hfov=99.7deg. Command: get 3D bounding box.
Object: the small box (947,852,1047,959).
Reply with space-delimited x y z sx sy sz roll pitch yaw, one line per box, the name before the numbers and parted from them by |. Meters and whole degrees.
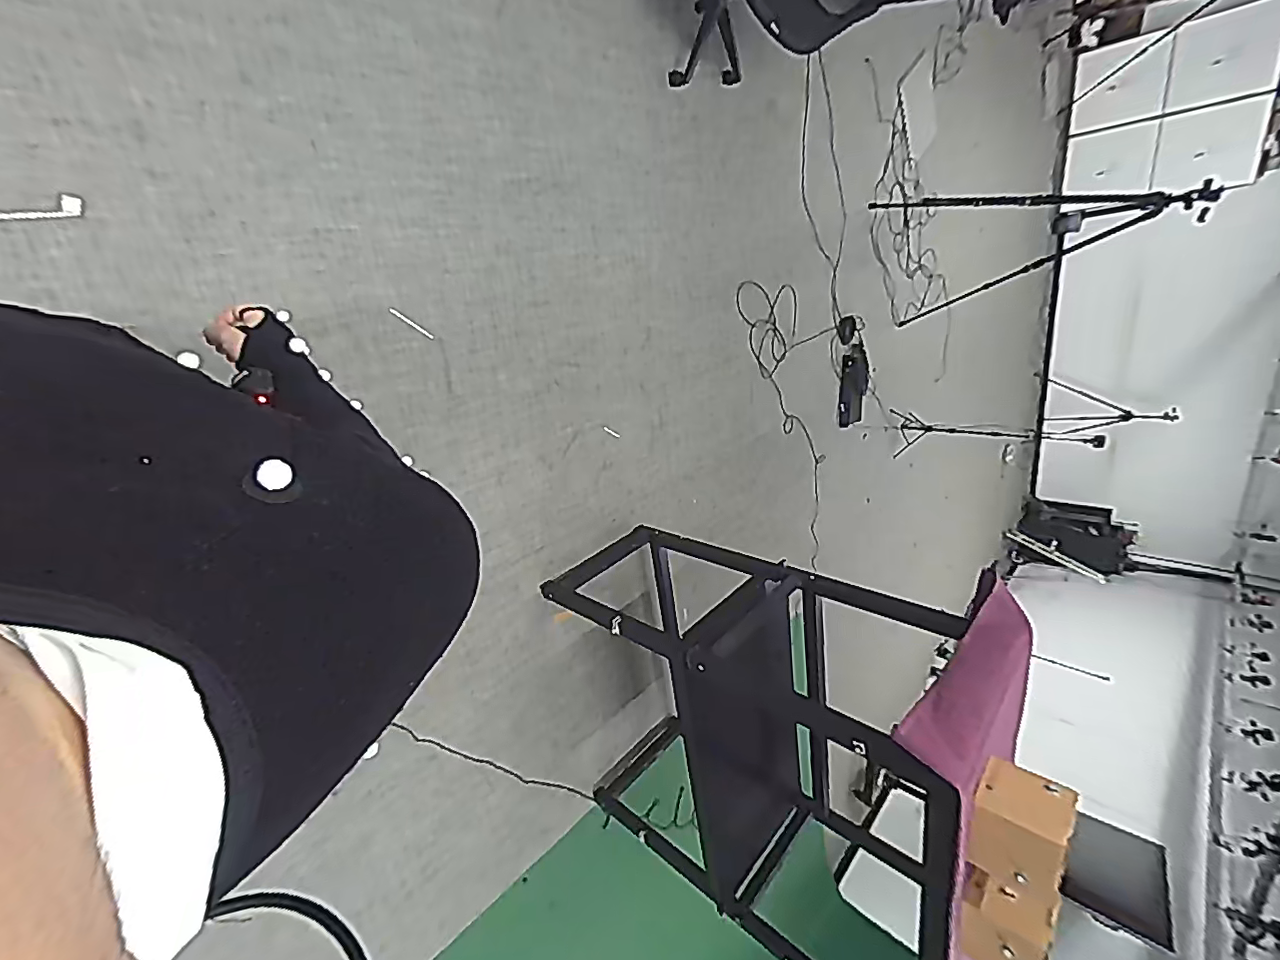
small box | 0.856 1.046 1.302 0.168 0.176 0.179 -23 114 -41
